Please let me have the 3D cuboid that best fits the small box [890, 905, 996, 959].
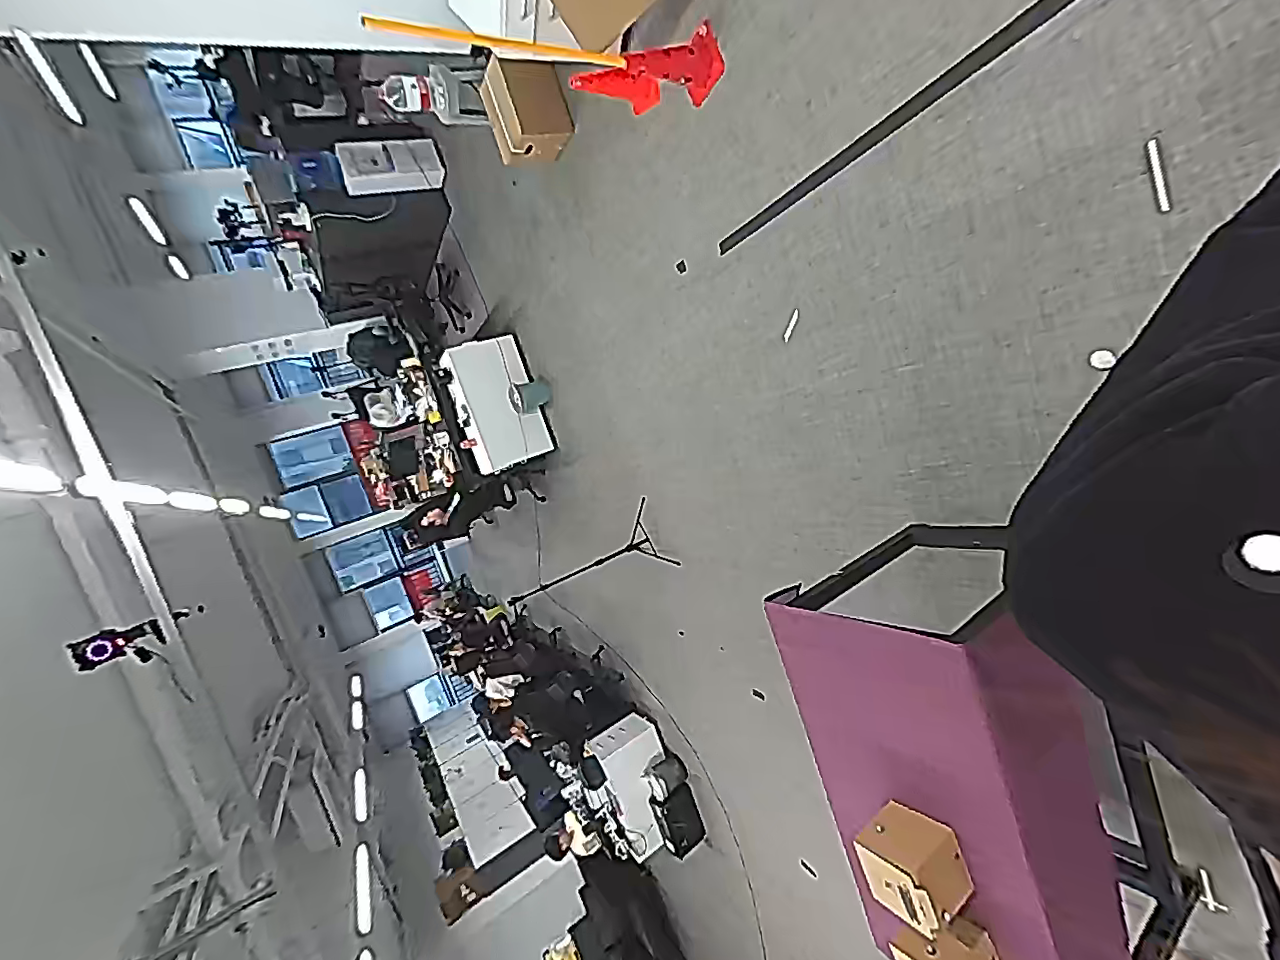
[{"bbox_3d":[0.773,1.219,1.346,0.179,0.176,0.168,-28,84,63],"label":"small box"}]
